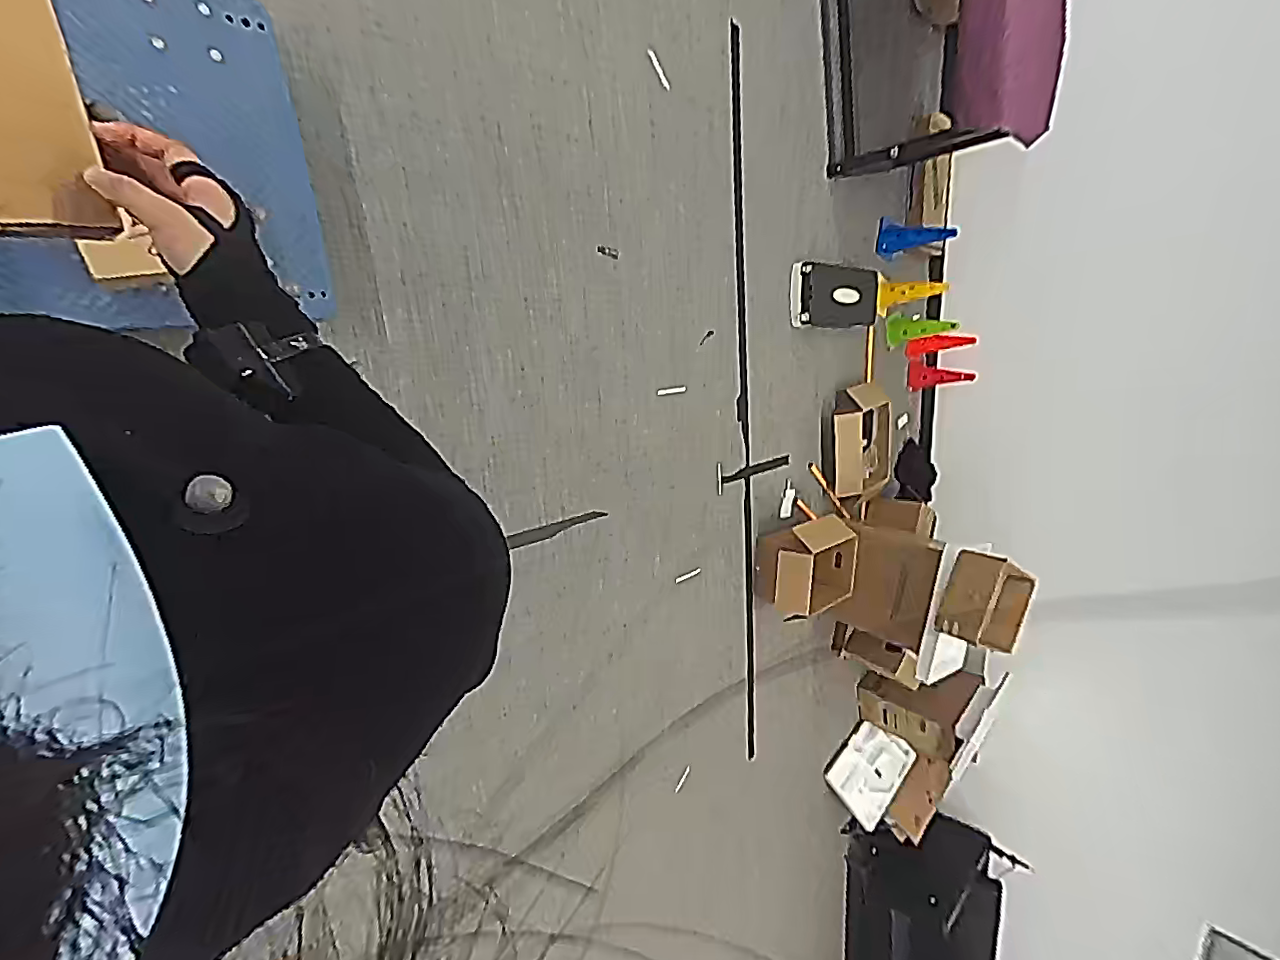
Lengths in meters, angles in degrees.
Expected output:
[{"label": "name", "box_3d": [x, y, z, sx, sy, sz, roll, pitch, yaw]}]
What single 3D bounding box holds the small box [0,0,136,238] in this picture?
[{"label": "small box", "box_3d": [-0.475, -0.262, 0.358, 0.168, 0.176, 0.179, -19, 120, -41]}]
